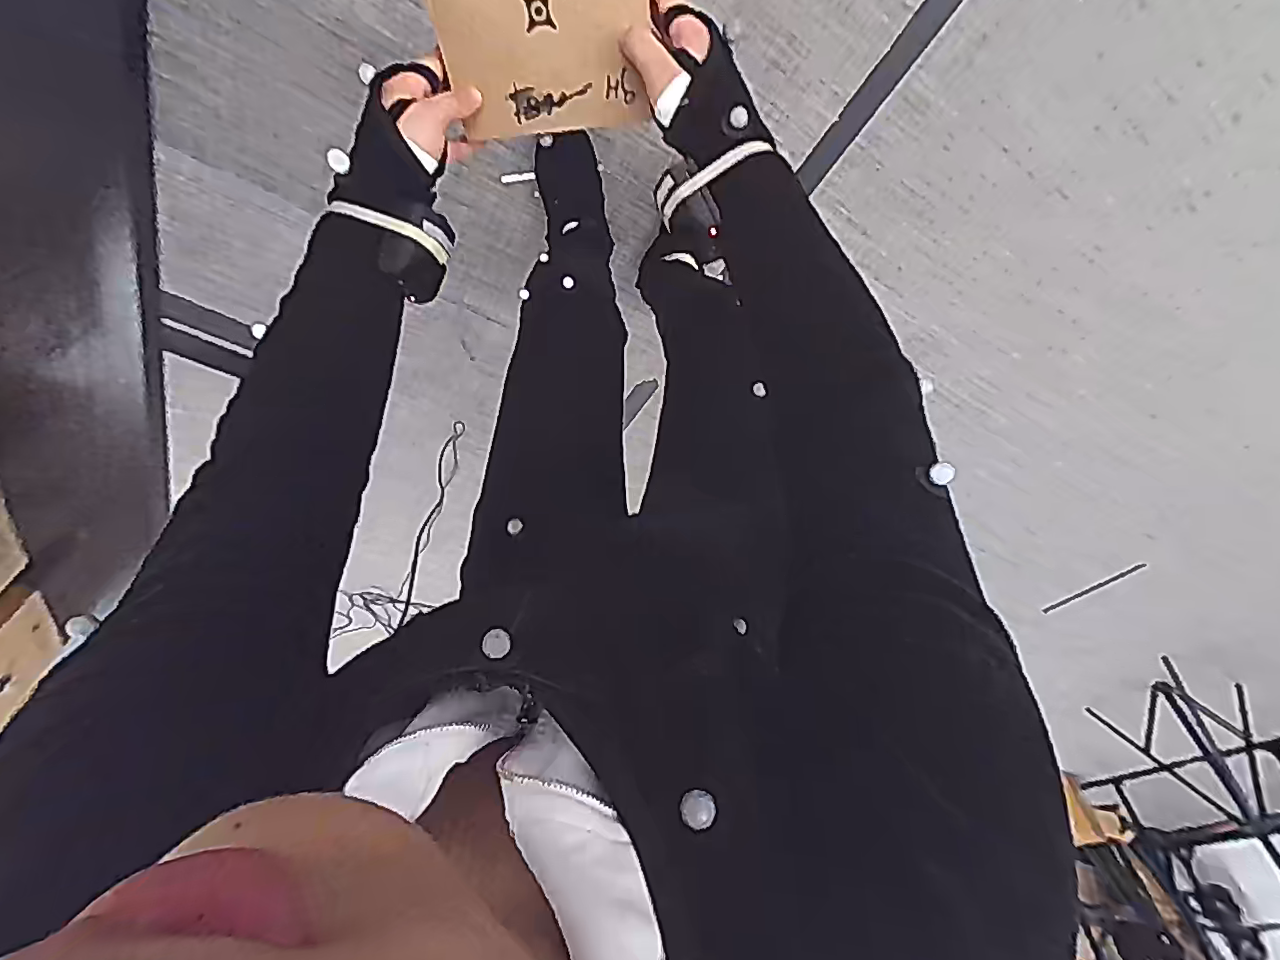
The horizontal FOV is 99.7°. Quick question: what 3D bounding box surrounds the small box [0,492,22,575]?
[{"bbox_3d":[-0.689,0.071,0.439,0.179,0.176,0.168,22,132,-22],"label":"small box"}]
